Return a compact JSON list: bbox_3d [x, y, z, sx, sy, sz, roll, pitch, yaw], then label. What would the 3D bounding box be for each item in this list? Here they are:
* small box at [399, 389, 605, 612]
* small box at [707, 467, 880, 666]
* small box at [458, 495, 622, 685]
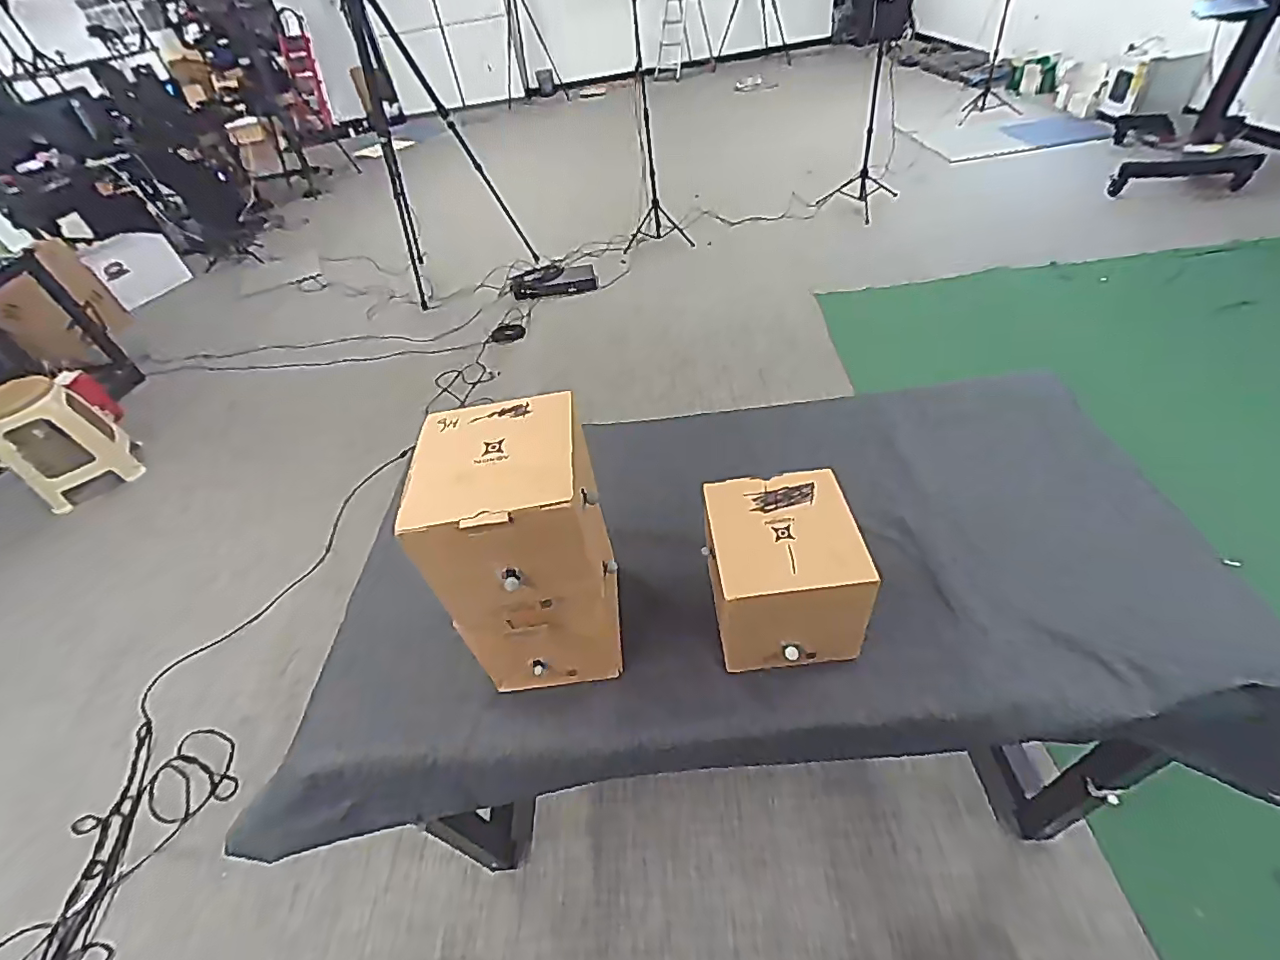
[{"bbox_3d":[-0.135,0.029,0.595,0.168,0.176,0.179,-9,45,1],"label":"small box"},{"bbox_3d":[0.178,0.110,0.684,0.168,0.176,0.179,-8,44,3],"label":"small box"},{"bbox_3d":[-0.118,0.143,0.711,0.168,0.176,0.179,-8,44,2],"label":"small box"}]
